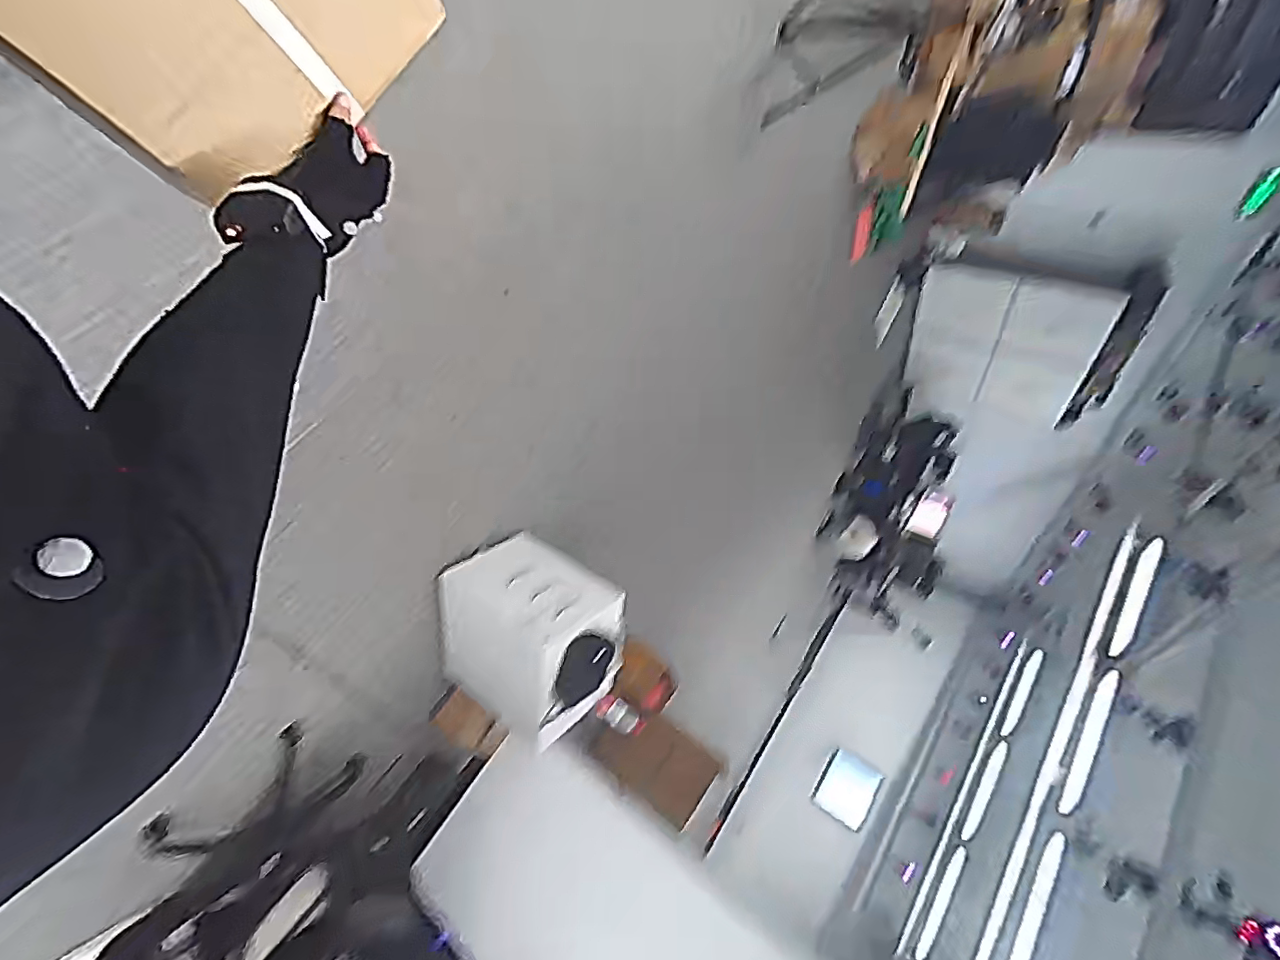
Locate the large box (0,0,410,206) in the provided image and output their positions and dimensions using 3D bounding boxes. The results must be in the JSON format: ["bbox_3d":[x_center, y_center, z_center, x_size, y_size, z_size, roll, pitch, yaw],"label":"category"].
[{"bbox_3d":[-0.490,-0.522,0.458,0.320,0.320,0.408,-56,147,-6],"label":"large box"}]
